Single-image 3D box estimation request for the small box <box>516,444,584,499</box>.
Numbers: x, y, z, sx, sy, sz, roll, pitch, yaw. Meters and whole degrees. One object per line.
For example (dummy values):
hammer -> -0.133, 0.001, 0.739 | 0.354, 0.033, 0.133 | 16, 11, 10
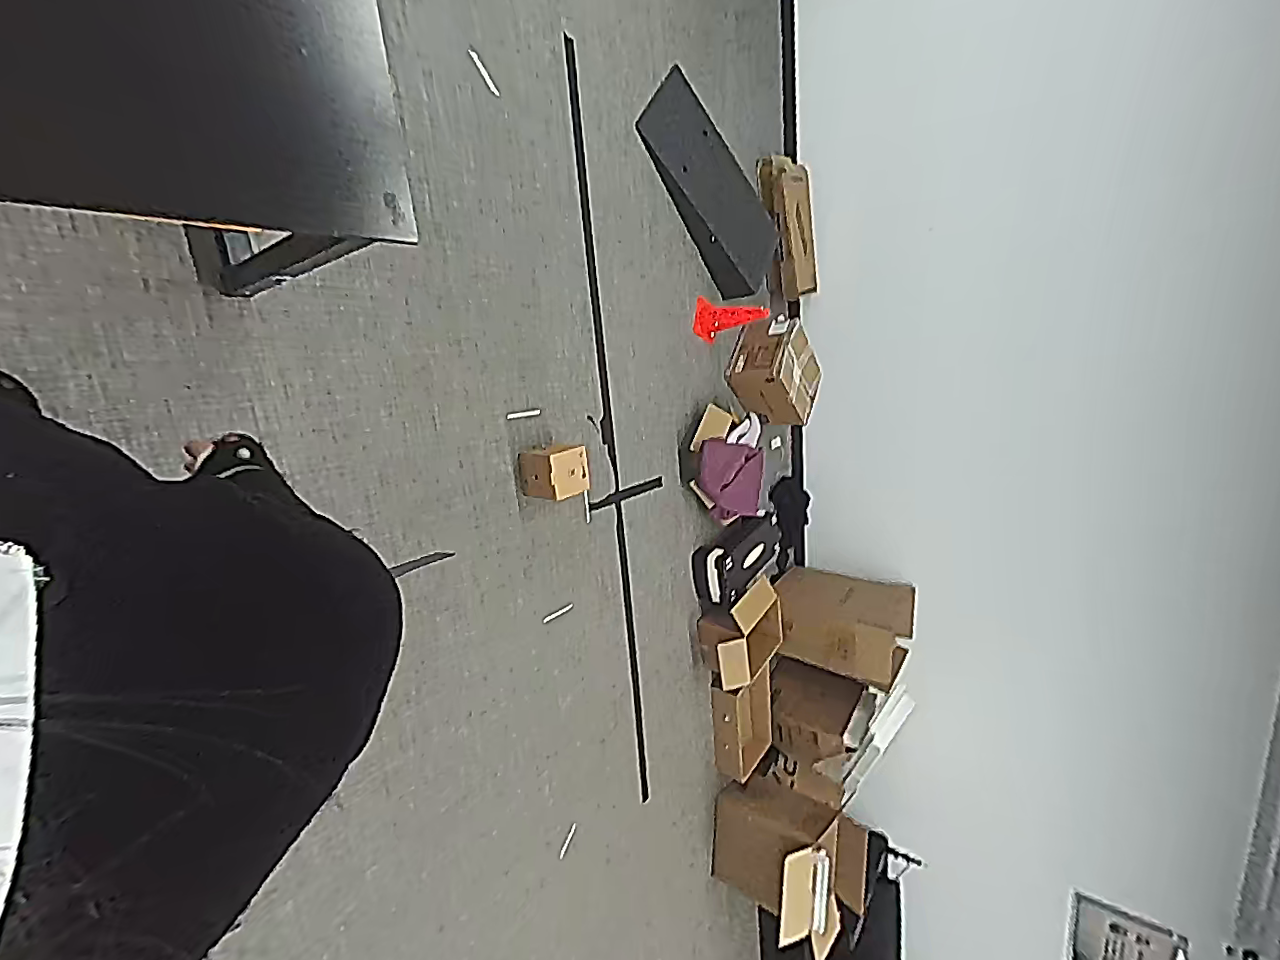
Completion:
small box -> -0.332, -0.034, 1.962 | 0.179, 0.176, 0.168 | -21, 110, -49
